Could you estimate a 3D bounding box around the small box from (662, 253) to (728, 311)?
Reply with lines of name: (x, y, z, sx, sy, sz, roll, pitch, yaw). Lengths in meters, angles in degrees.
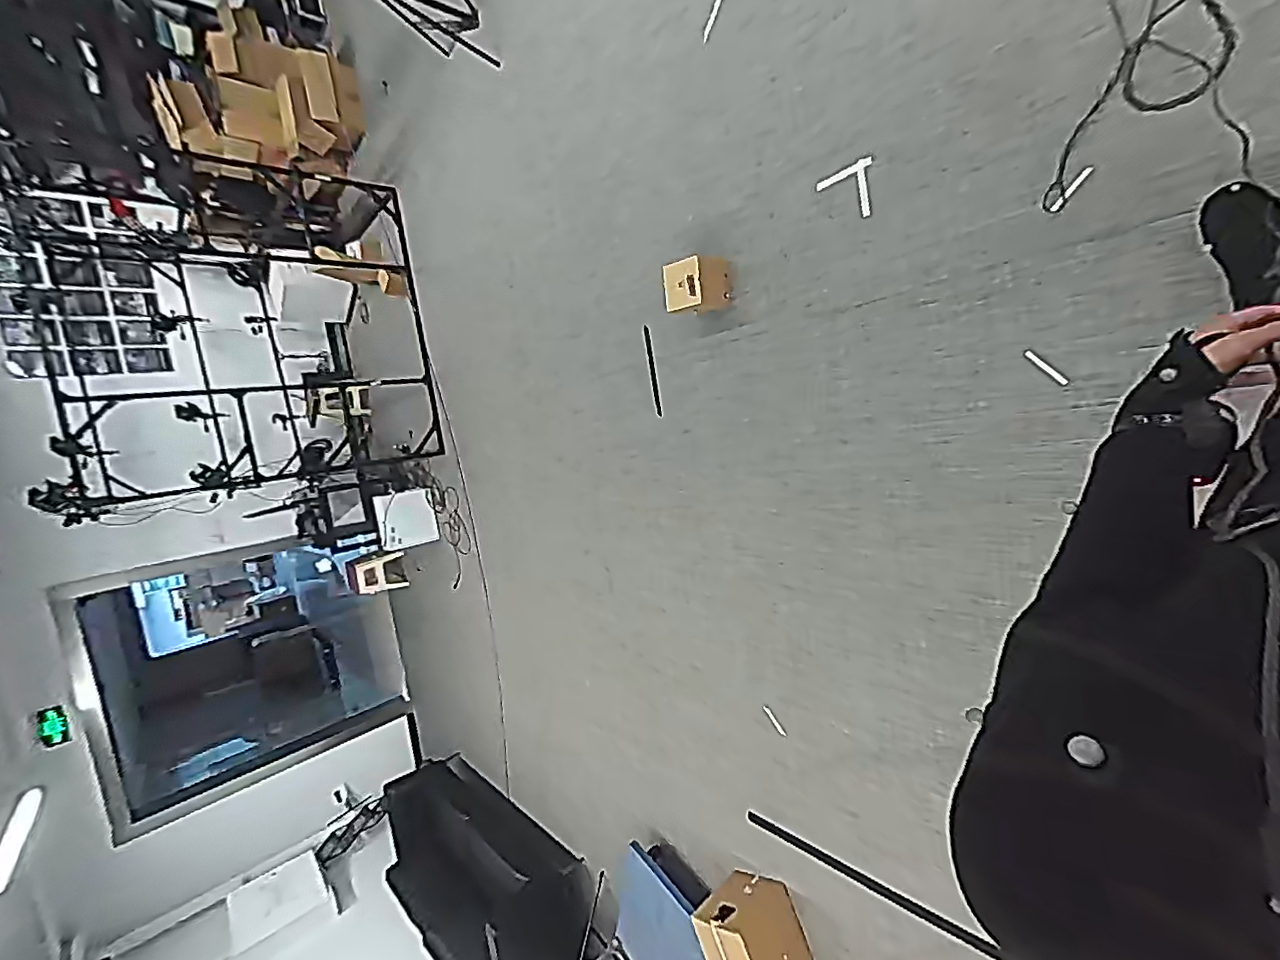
small box: (0.208, -0.718, 1.977, 0.179, 0.176, 0.168, 4, 103, 49)
